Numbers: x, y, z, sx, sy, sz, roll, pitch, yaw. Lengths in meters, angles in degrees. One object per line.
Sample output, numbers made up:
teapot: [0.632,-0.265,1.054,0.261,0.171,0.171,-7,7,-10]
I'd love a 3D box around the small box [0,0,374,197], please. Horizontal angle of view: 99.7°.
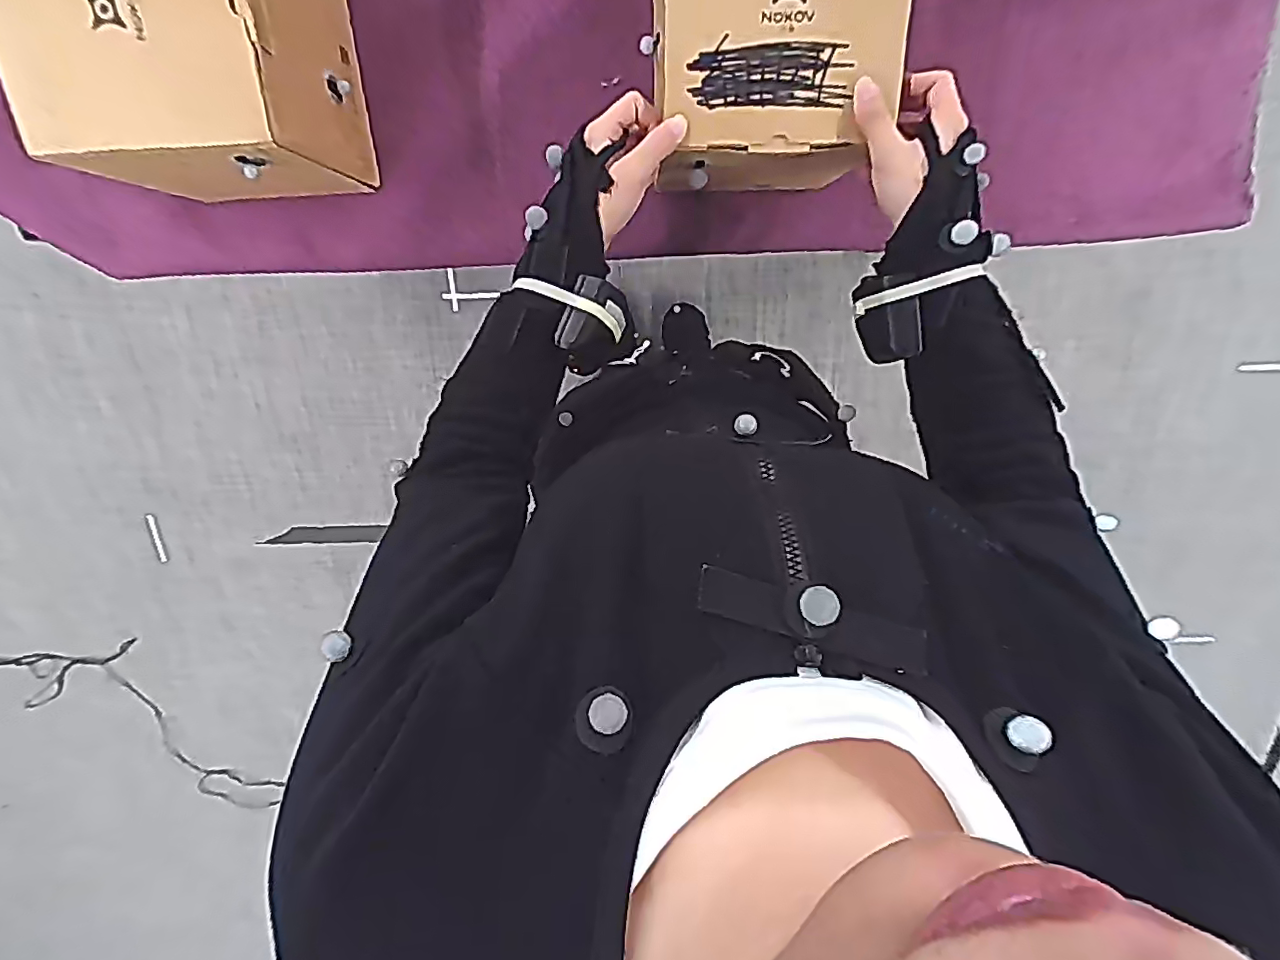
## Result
small box: [-0.348,-0.335,0.431,0.179,0.176,0.168,-4,108,-1]
